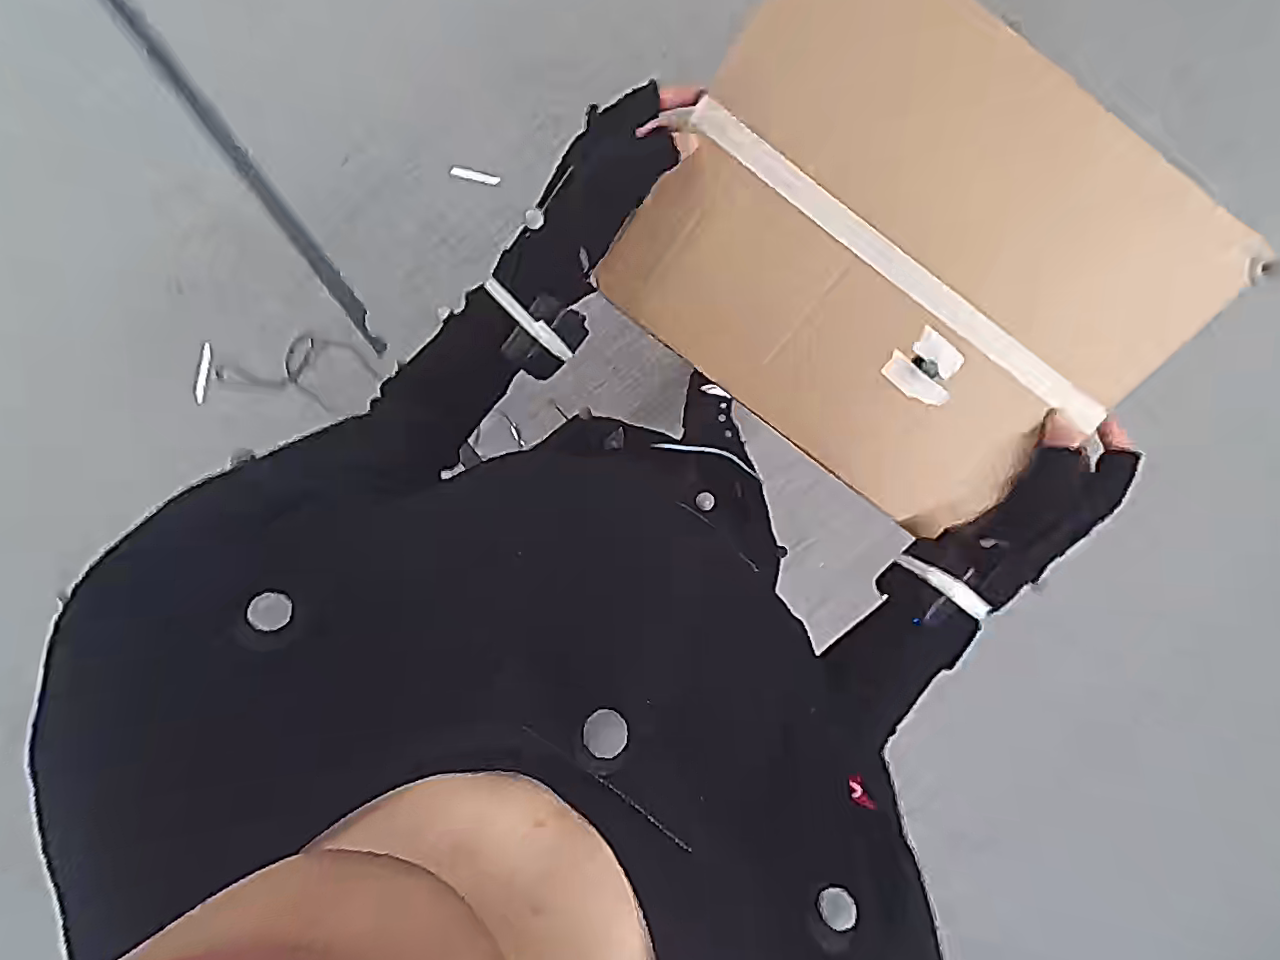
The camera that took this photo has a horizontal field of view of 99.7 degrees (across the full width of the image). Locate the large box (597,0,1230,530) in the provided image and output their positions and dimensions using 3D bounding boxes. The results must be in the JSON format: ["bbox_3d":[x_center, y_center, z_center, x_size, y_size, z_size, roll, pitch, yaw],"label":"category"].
[{"bbox_3d":[0.222,-0.223,0.585,0.408,0.320,0.320,36,109,-4],"label":"large box"}]
